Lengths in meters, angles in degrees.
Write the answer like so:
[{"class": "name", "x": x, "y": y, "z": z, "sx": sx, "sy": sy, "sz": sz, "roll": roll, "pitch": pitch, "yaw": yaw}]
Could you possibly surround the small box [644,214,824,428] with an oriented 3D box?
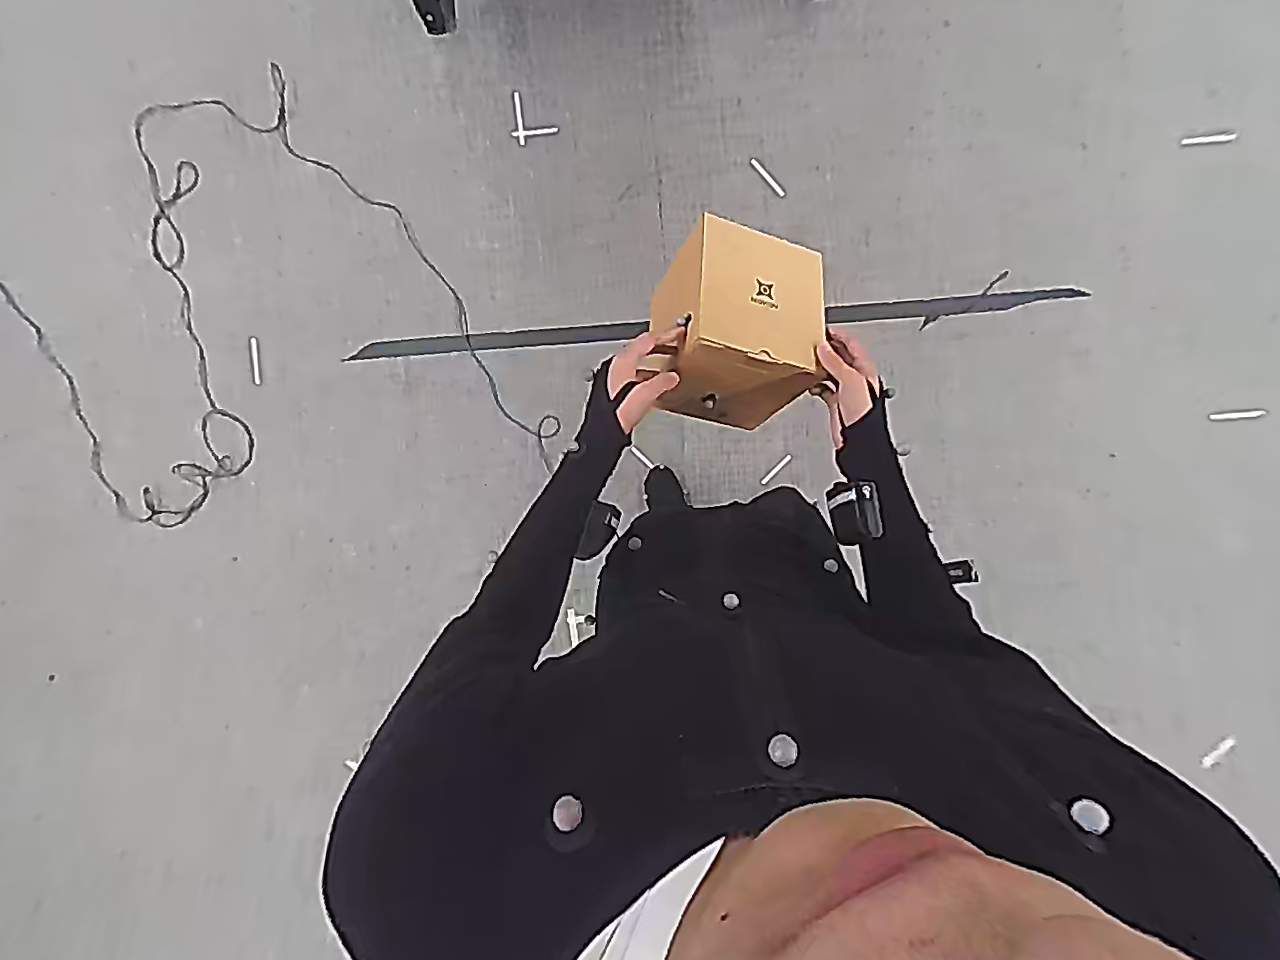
[{"class": "small box", "x": 0.111, "y": -0.189, "z": 0.689, "sx": 0.168, "sy": 0.176, "sz": 0.179, "roll": 11, "pitch": 70, "yaw": -18}]
